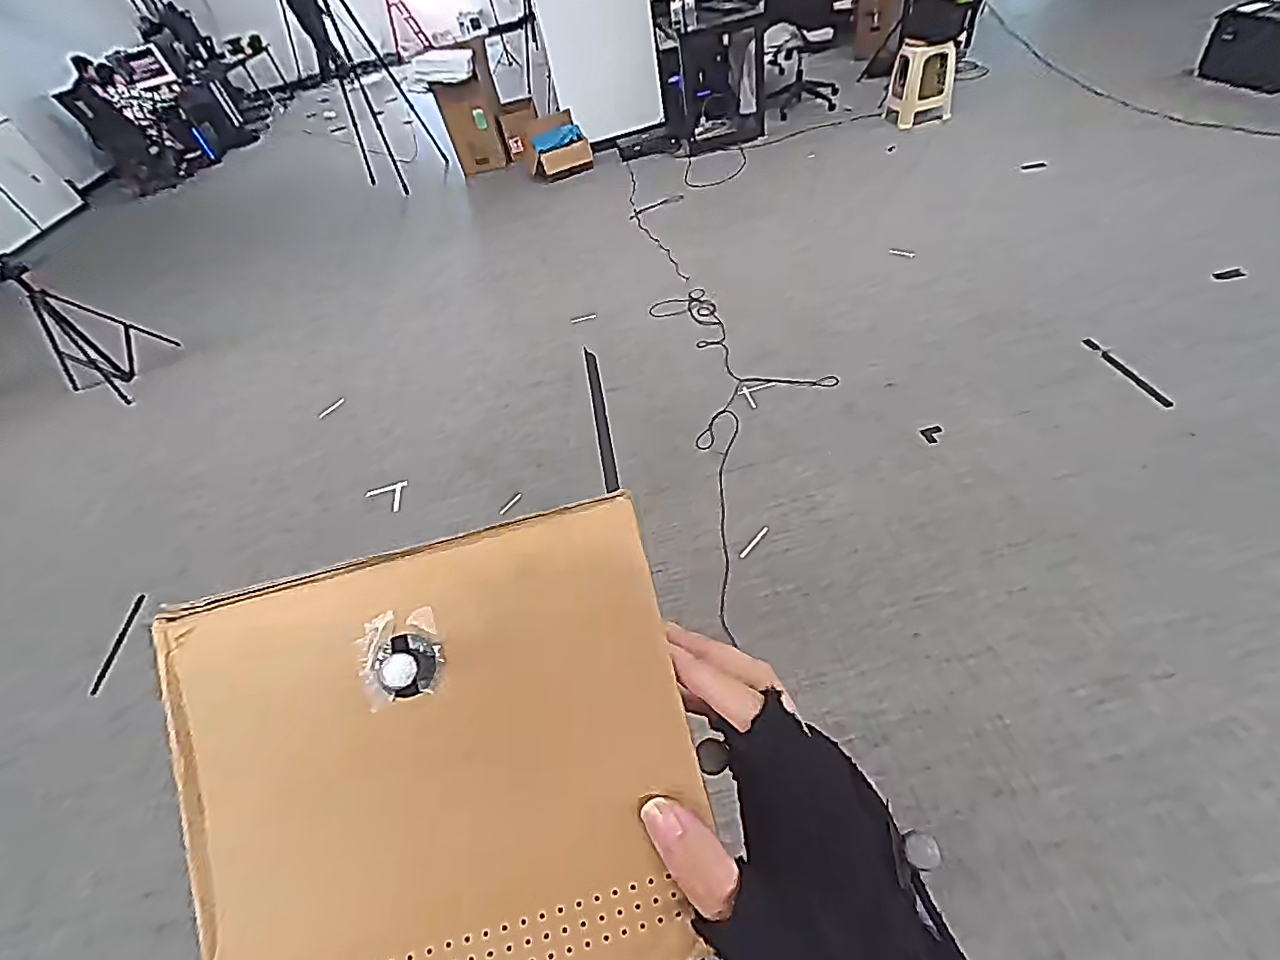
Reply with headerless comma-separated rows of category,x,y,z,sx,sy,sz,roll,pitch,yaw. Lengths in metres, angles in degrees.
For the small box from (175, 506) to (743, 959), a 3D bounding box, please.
small box,-0.068,0.121,0.269,0.179,0.168,0.176,-14,84,-4
